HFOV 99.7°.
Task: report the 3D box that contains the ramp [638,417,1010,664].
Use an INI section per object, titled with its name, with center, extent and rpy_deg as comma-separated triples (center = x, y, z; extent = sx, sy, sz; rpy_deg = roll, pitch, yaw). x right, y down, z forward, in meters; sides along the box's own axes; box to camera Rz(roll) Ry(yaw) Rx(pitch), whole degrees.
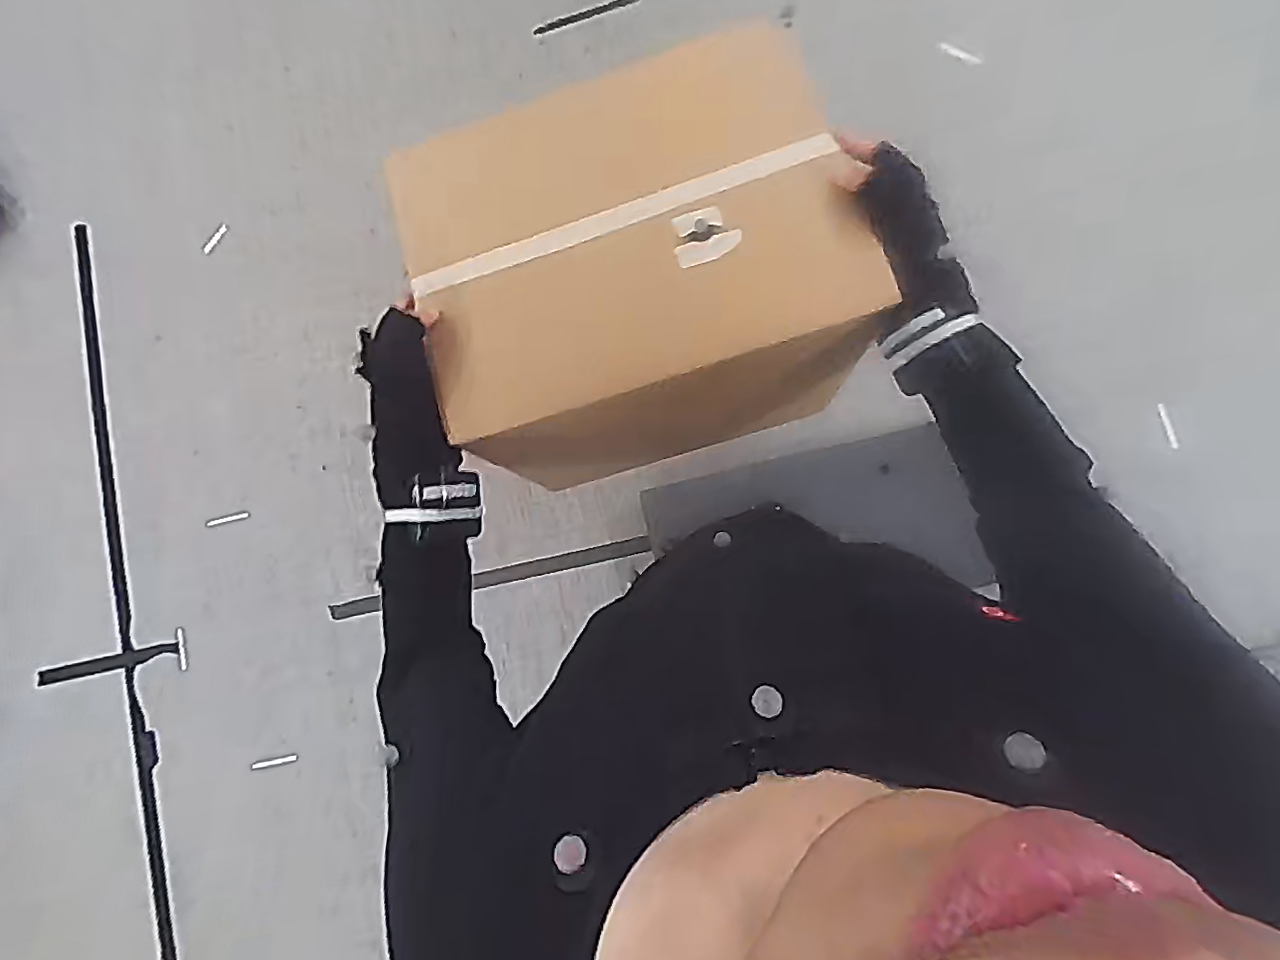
[ramp]
center = 0.529, 0.150, 1.540
extent = 0.991, 0.206, 0.509
rpy_deg = -16, 81, 4

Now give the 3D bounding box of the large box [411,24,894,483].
[large box]
center = 0.009, -0.218, 0.652
extent = 0.408, 0.320, 0.320
rpy_deg = -16, 79, 4
